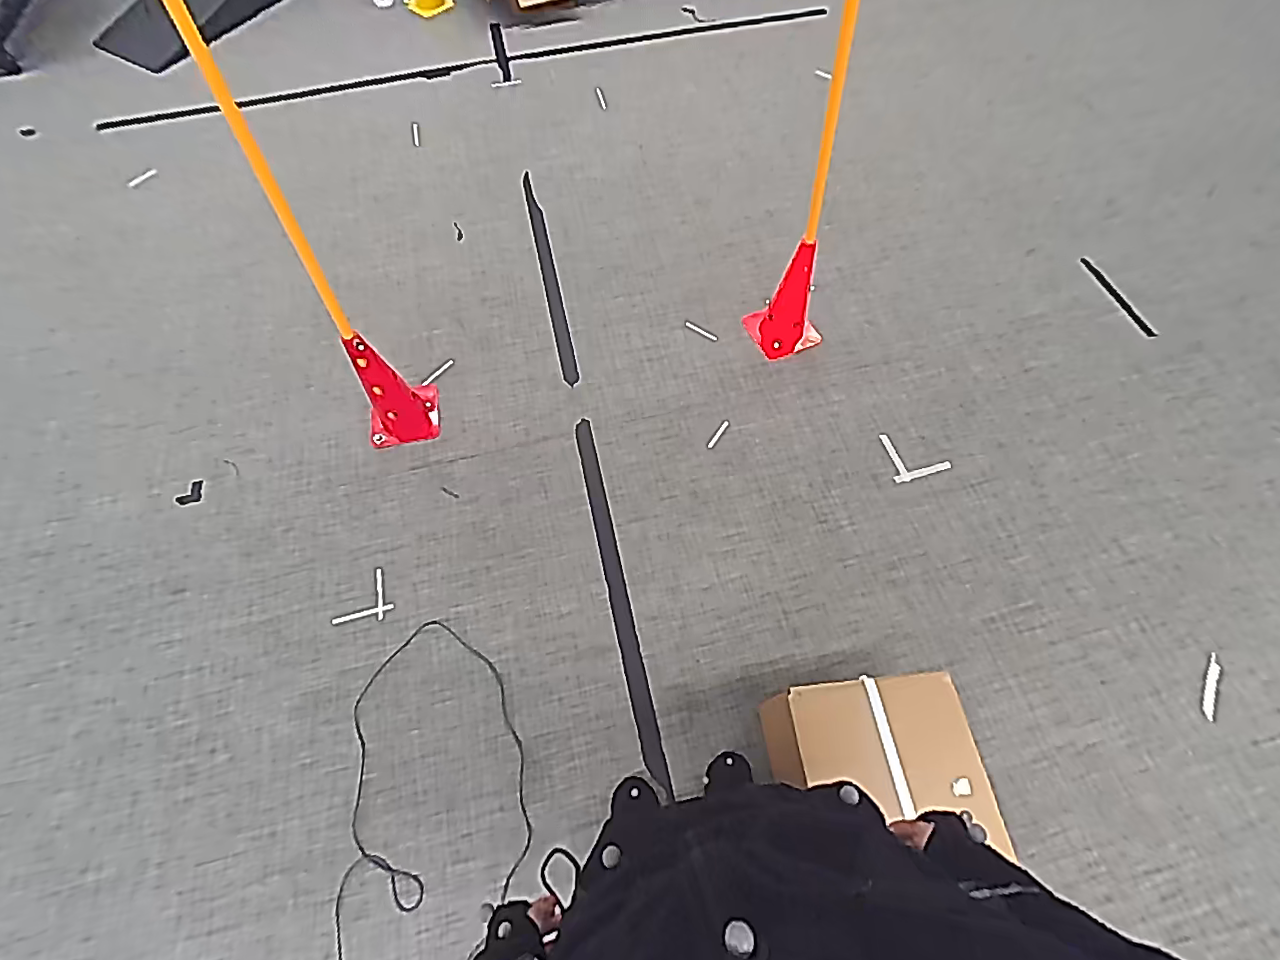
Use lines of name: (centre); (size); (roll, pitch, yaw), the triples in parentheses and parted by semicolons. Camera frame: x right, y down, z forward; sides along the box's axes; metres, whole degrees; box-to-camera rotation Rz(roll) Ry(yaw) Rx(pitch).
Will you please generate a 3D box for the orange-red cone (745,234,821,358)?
orange-red cone: (0.460, -0.563, 1.591); (0.199, 0.360, 0.198); (-20, 66, -10)
